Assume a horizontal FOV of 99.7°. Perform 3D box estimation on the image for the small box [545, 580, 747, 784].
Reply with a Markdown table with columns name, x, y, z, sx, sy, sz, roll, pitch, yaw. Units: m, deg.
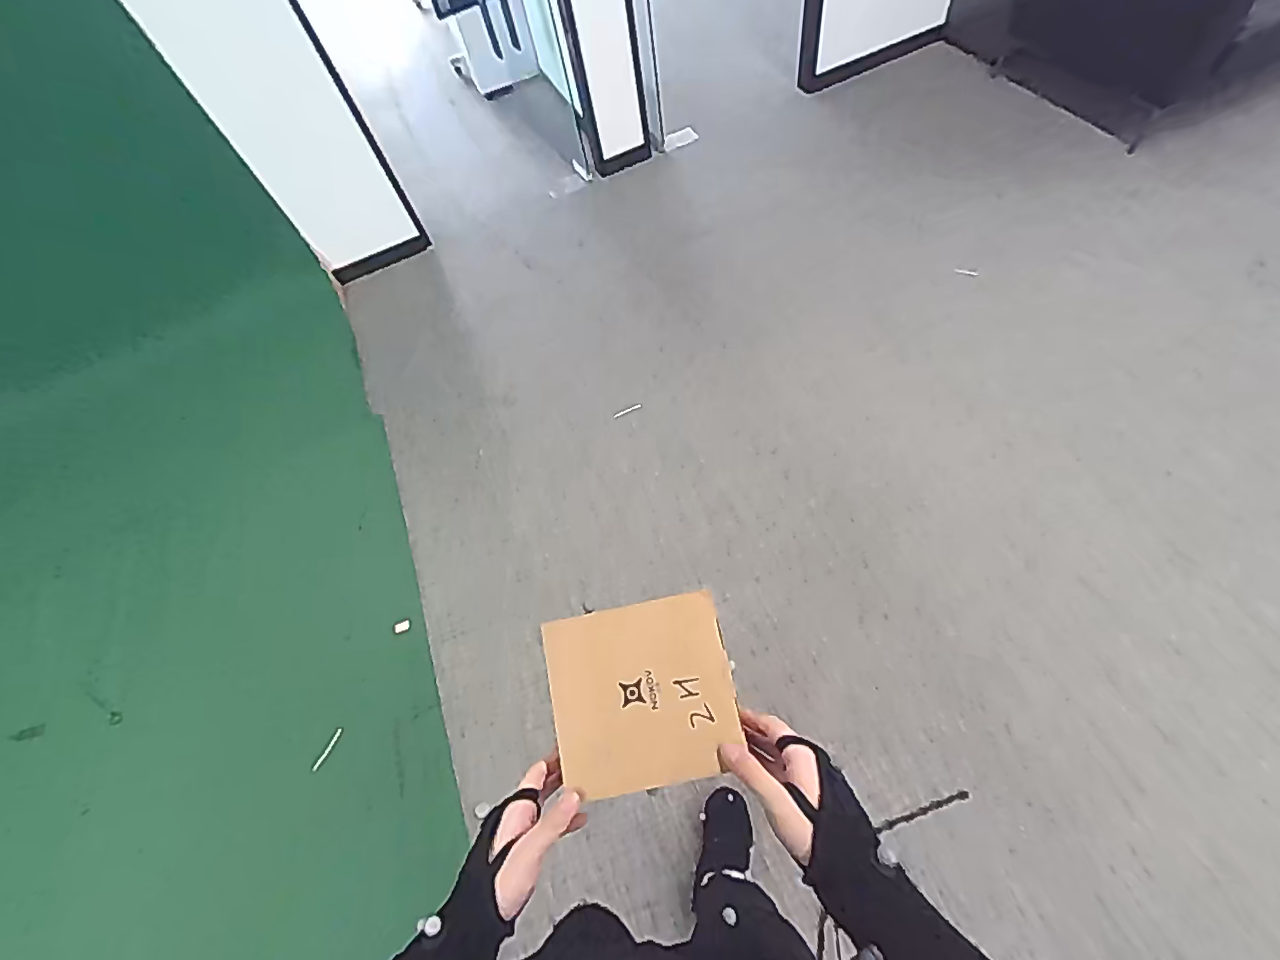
| name | x | y | z | sx | sy | sz | roll | pitch | yaw |
| --- | --- | --- | --- | --- | --- | --- | --- | --- | --- |
| small box | 0.008 | 0.215 | 0.601 | 0.179 | 0.176 | 0.168 | -12 | 74 | 1 |
